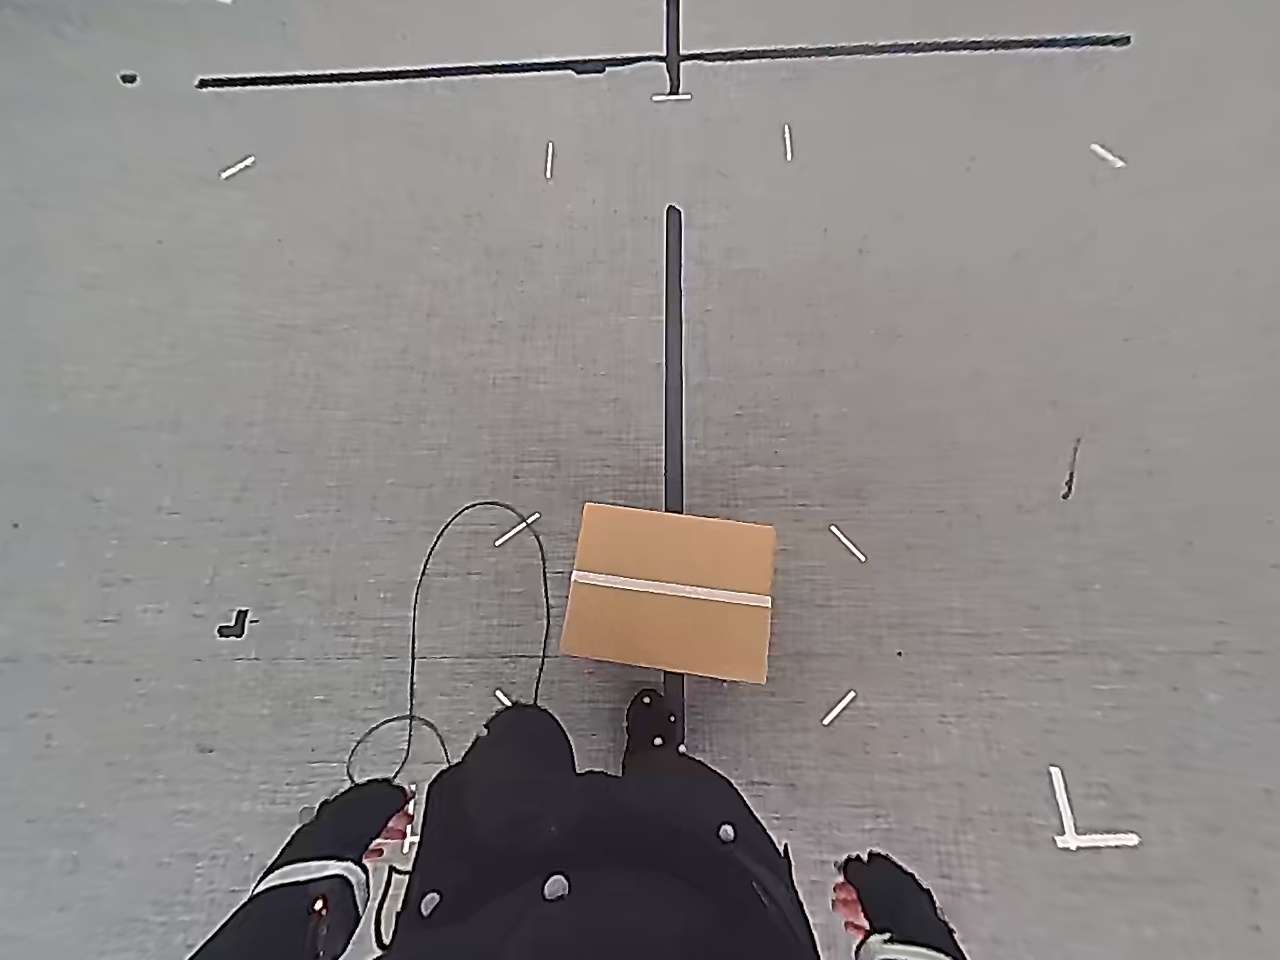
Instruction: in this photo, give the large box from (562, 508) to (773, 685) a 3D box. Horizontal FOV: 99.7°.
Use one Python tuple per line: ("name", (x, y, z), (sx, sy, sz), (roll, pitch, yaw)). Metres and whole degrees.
("large box", (0.067, 0.268, 1.226), (0.408, 0.320, 0.320), (7, 72, 4))
